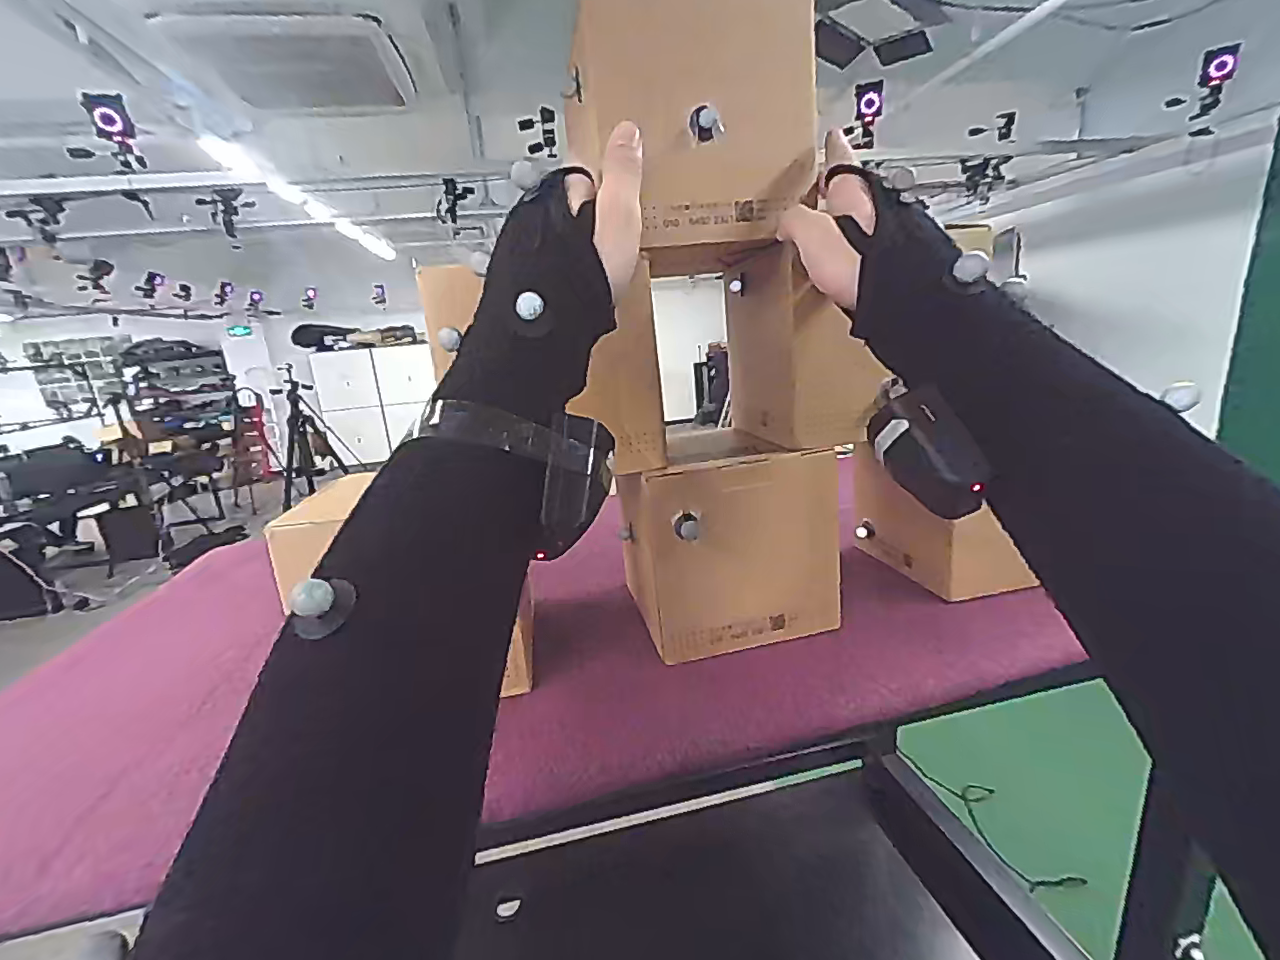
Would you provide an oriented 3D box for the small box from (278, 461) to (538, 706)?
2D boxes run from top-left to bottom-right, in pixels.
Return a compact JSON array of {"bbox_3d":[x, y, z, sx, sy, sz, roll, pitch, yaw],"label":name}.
[{"bbox_3d":[-0.185,0.084,0.494,0.168,0.176,0.179,-7,14,-9],"label":"small box"}]

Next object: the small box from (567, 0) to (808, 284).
[{"bbox_3d":[0.034,-0.272,0.472,0.168,0.176,0.179,-9,14,-10],"label":"small box"}]

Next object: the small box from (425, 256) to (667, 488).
[{"bbox_3d":[-0.079,-0.092,0.490,0.168,0.176,0.179,-9,14,-10],"label":"small box"}]

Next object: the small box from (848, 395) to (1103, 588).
[{"bbox_3d":[0.352,0.005,0.593,0.179,0.176,0.168,-8,15,-9],"label":"small box"}]
